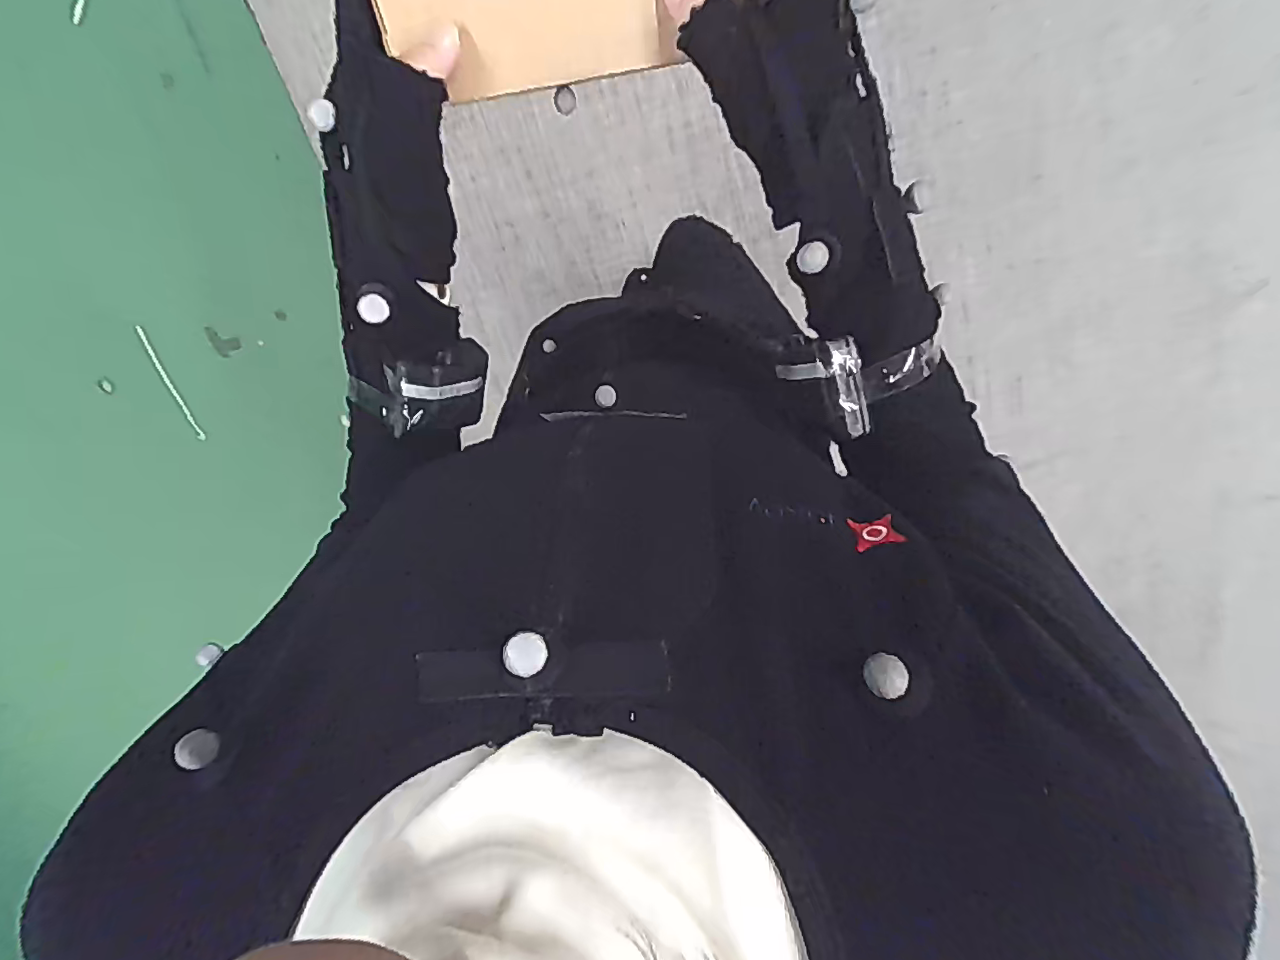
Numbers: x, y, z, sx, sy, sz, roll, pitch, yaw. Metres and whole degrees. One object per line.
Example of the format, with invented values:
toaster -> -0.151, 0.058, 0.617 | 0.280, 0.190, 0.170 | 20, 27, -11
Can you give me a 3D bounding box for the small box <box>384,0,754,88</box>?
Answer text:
small box -> -0.041, -0.318, 0.284 | 0.179, 0.176, 0.168 | -7, 127, 5
